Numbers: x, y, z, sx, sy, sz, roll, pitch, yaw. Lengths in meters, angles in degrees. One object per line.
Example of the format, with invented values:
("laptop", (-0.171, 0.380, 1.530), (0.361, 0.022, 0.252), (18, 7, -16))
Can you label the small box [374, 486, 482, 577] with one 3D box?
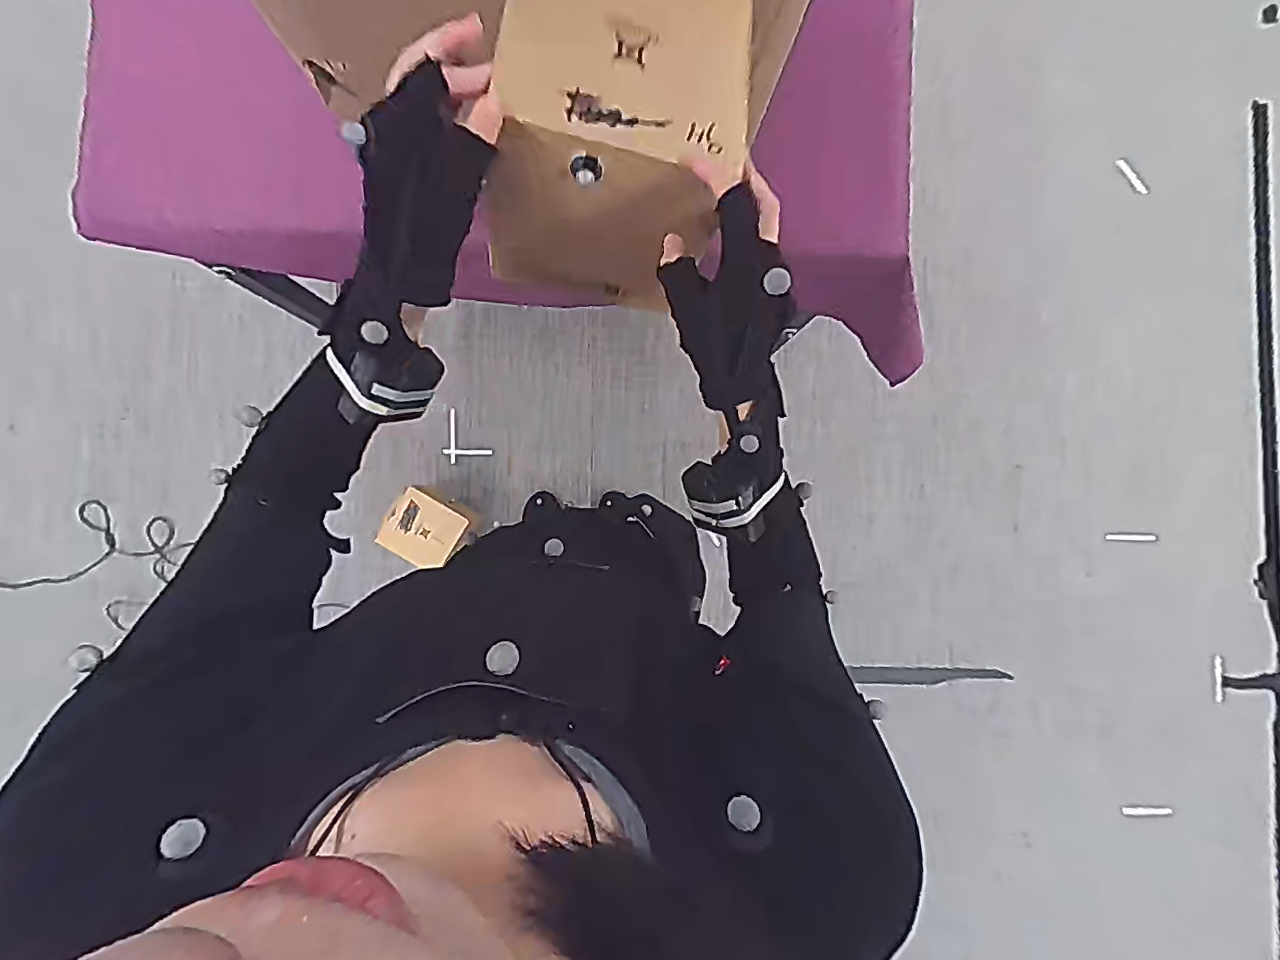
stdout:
("small box", (-0.544, 0.131, 1.412), (0.179, 0.176, 0.168), (32, 87, -3))
